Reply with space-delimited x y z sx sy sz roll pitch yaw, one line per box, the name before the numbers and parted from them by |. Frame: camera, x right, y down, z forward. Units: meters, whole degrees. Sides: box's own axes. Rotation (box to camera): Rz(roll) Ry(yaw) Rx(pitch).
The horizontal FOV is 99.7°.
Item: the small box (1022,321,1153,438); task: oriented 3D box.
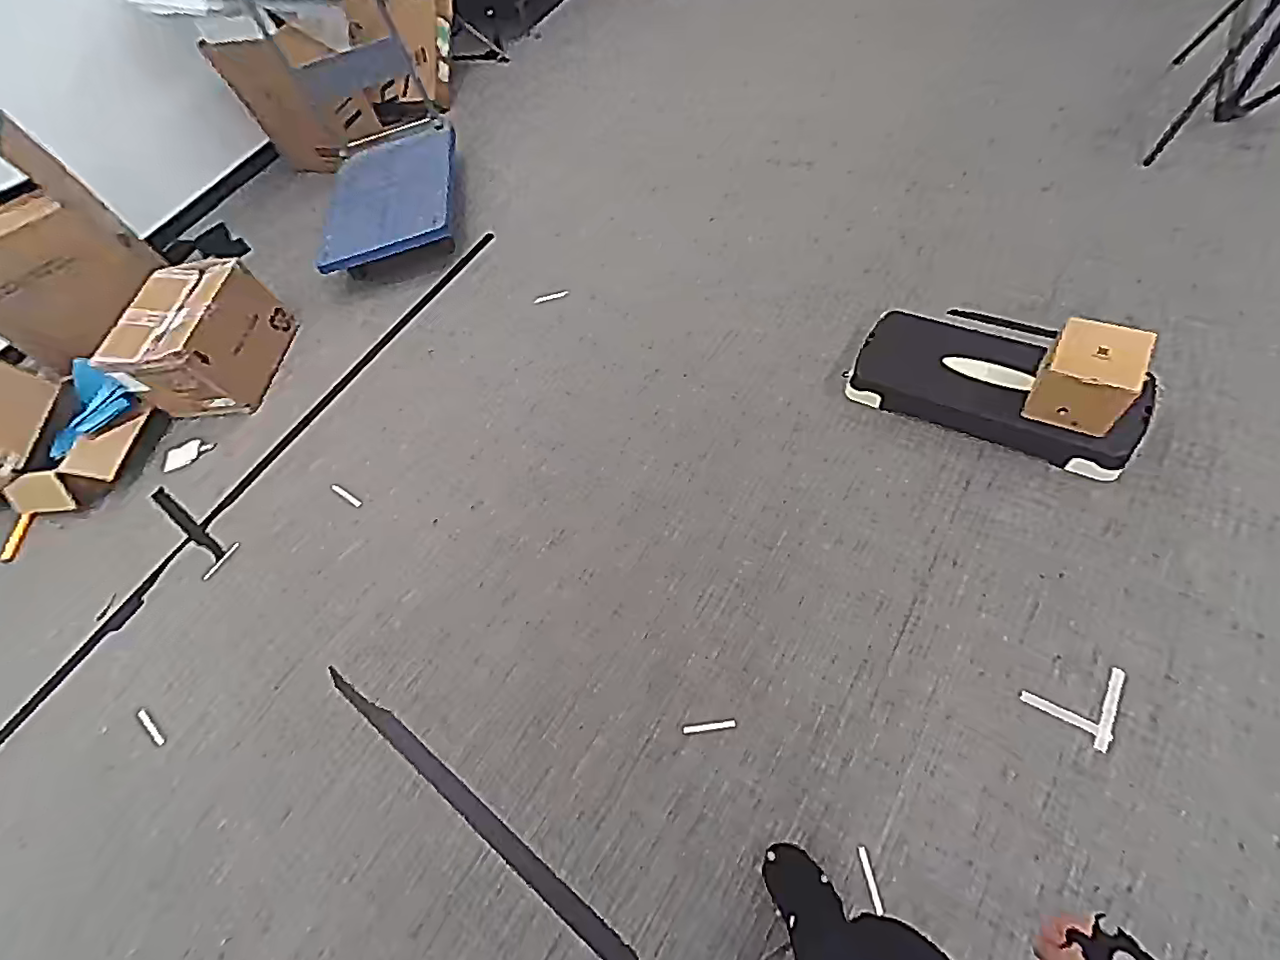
small box | 1.019 -0.229 1.244 0.168 0.176 0.179 23 69 25
